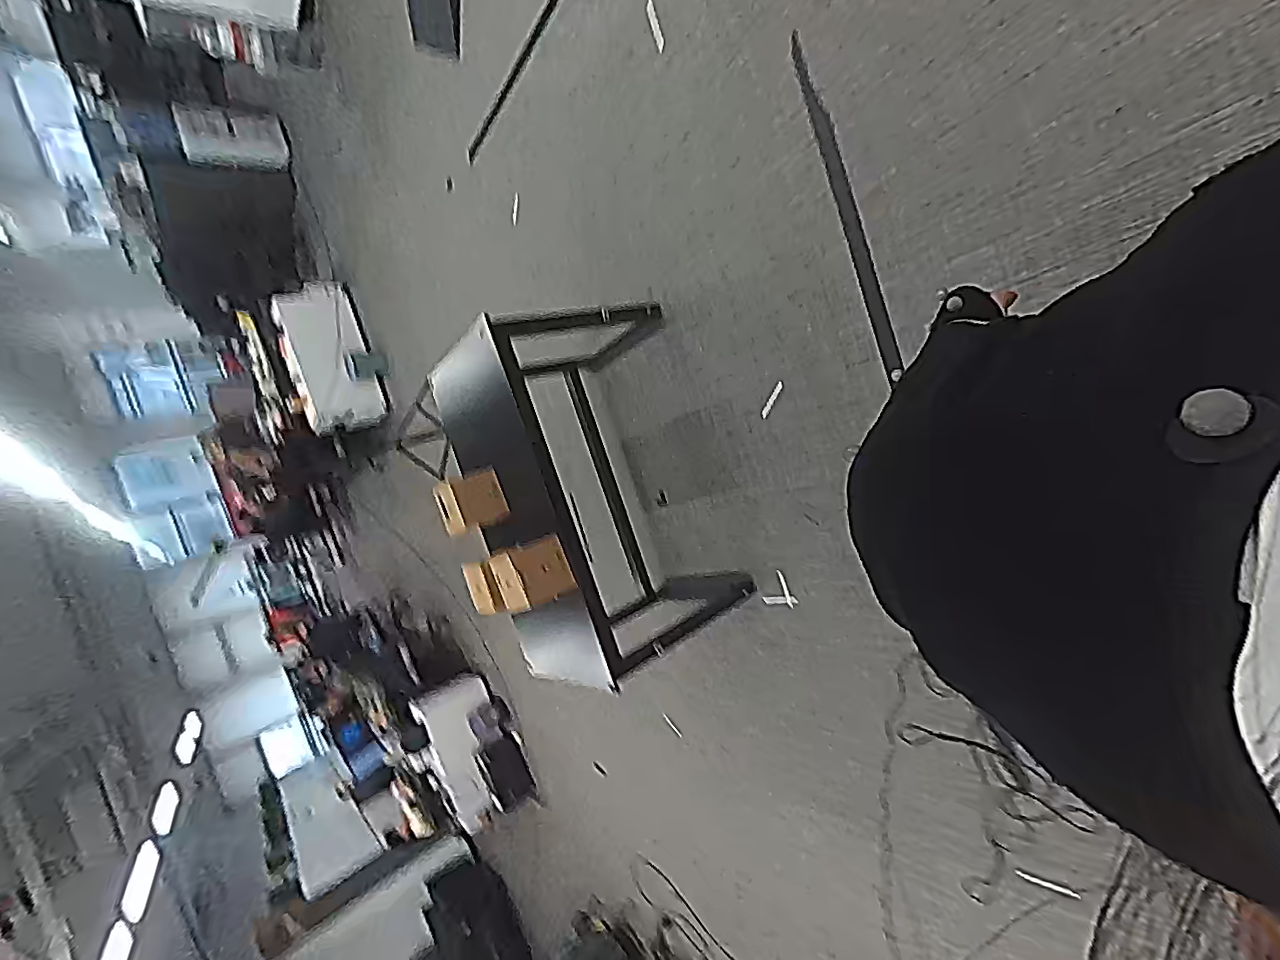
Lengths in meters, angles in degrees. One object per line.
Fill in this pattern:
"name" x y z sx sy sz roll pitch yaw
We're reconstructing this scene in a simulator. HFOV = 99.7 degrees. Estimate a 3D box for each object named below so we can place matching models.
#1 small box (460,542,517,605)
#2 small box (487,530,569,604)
"small box" -0.494 0.320 1.870 0.179 0.176 0.168 -14 94 51
"small box" -0.337 0.265 1.656 0.179 0.176 0.168 -26 85 52
